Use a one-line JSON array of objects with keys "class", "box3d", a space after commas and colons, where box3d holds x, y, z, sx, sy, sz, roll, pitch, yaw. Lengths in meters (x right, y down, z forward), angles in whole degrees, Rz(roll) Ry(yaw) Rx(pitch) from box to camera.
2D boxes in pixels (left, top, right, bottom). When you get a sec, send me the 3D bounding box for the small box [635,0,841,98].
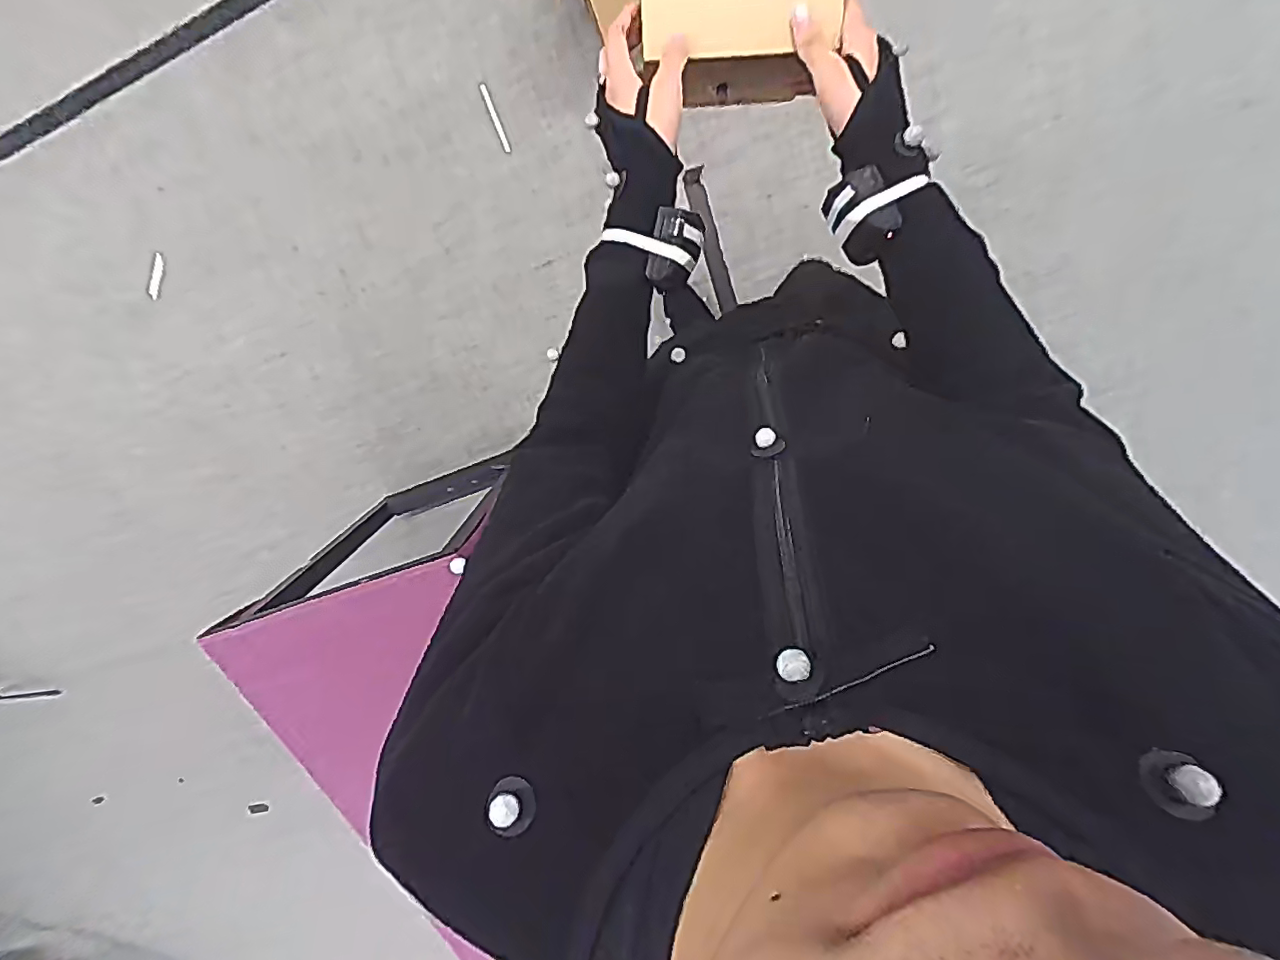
[{"class": "small box", "box3d": [0.079, -0.461, 0.481, 0.168, 0.176, 0.179, -2, 112, 2]}]
